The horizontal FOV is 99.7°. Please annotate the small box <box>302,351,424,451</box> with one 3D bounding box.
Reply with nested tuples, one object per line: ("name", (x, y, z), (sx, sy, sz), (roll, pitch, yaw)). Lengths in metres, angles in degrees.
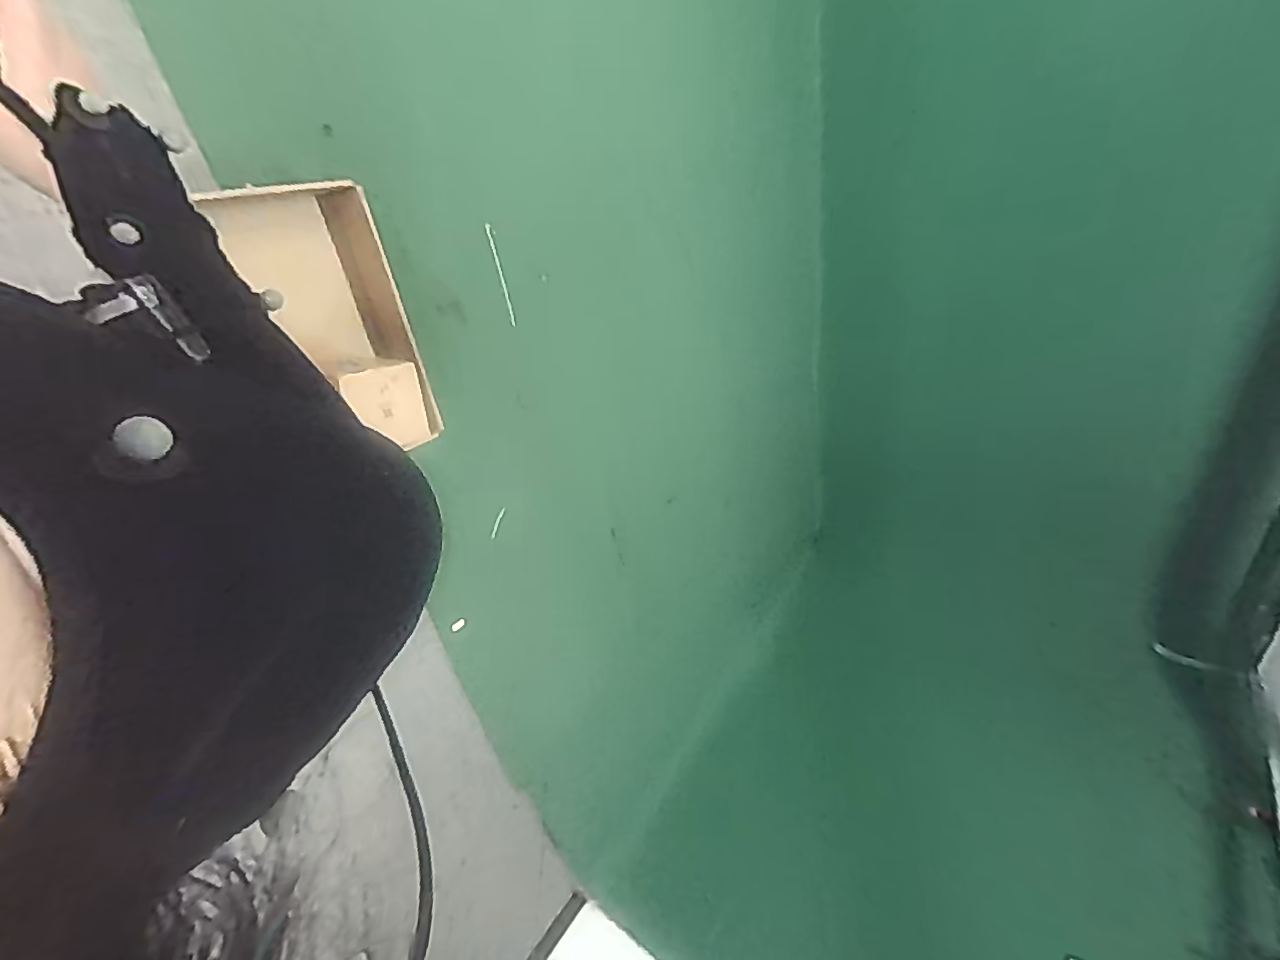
("small box", (-0.608, -0.181, 1.191), (0.168, 0.176, 0.179), (-27, 122, -44))
